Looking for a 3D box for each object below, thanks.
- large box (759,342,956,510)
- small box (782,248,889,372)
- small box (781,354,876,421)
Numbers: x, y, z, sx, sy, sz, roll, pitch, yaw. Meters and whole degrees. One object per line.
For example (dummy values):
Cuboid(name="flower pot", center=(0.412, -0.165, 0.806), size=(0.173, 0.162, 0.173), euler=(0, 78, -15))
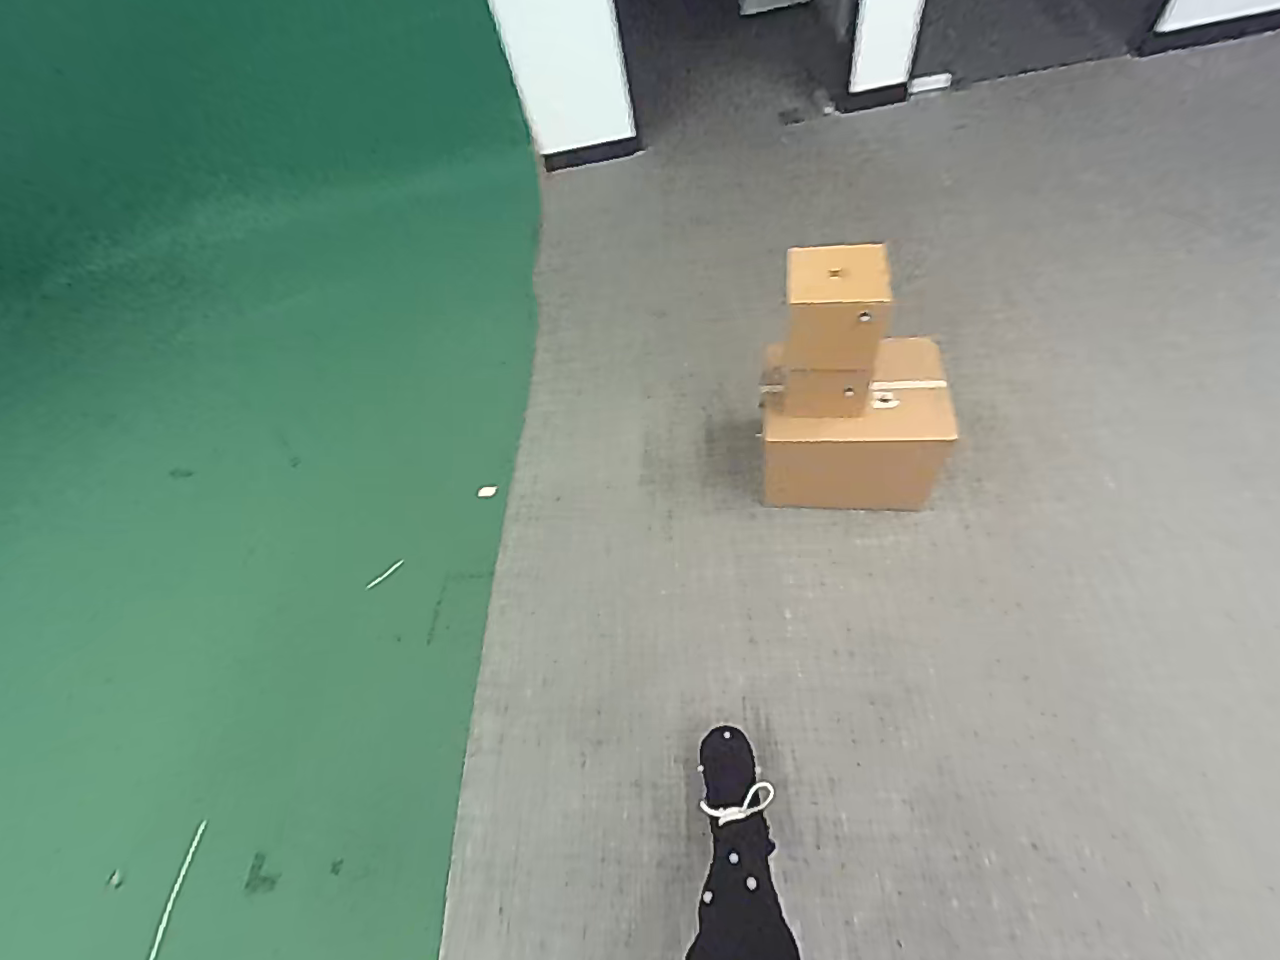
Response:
Cuboid(name="large box", center=(0.519, -0.126, 1.390), size=(0.408, 0.320, 0.320), euler=(0, 59, 11))
Cuboid(name="small box", center=(0.373, -0.328, 1.062), size=(0.179, 0.176, 0.168), euler=(2, 57, 12))
Cuboid(name="small box", center=(0.408, -0.245, 1.198), size=(0.179, 0.176, 0.168), euler=(0, 56, 13))
